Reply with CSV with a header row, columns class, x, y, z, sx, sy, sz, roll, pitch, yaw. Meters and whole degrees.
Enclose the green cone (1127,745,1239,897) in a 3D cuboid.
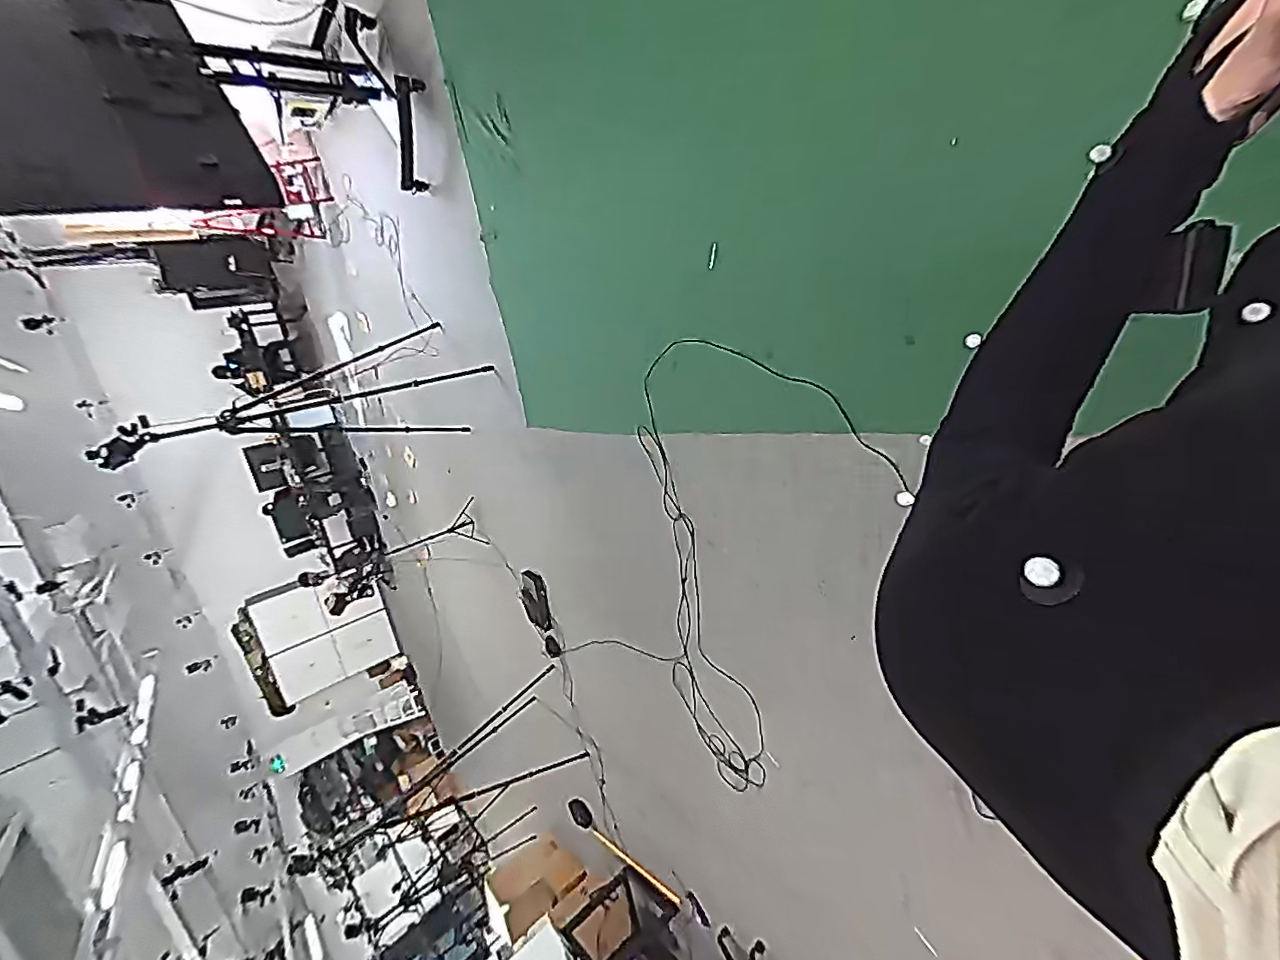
class,x,y,z,sx,sy,sz,roll,pitch,yaw
green cone,1.283,0.860,1.311,0.202,0.368,0.200,9,114,50
